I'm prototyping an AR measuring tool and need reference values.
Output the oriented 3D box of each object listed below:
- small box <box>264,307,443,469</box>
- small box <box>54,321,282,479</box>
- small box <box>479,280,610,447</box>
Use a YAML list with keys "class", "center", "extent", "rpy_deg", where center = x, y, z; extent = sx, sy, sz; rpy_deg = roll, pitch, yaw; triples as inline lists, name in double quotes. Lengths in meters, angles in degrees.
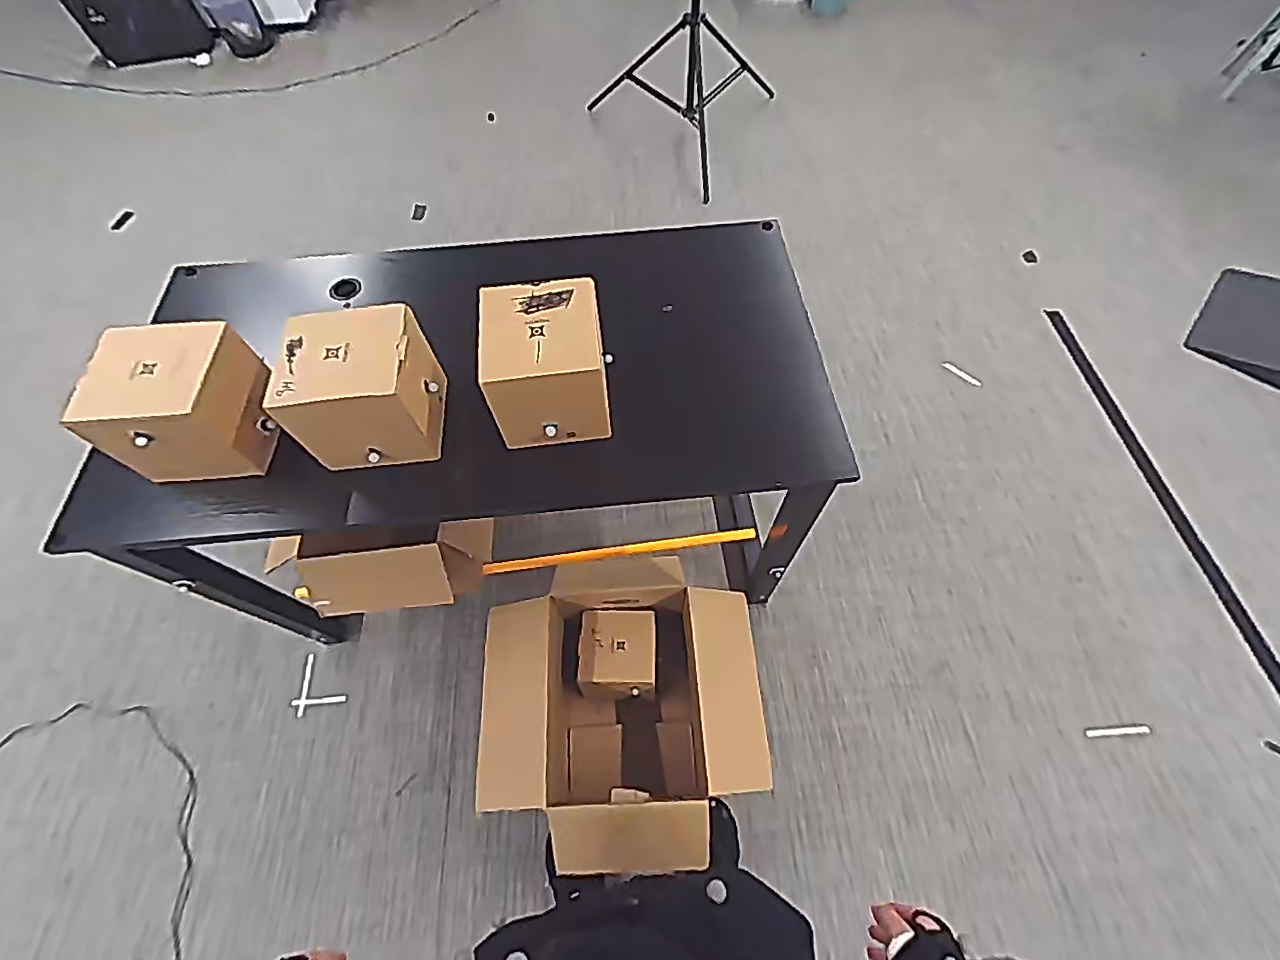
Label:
- class: "small box"
  center: [-0.406, -0.131, 0.805]
  extent: [0.179, 0.176, 0.168]
  rpy_deg: [-6, 61, -3]
- class: "small box"
  center: [-0.669, -0.111, 0.801]
  extent: [0.179, 0.176, 0.168]
  rpy_deg: [-4, 62, -2]
- class: "small box"
  center: [-0.137, -0.171, 0.818]
  extent: [0.168, 0.176, 0.179]
  rpy_deg: [-7, 62, -2]
